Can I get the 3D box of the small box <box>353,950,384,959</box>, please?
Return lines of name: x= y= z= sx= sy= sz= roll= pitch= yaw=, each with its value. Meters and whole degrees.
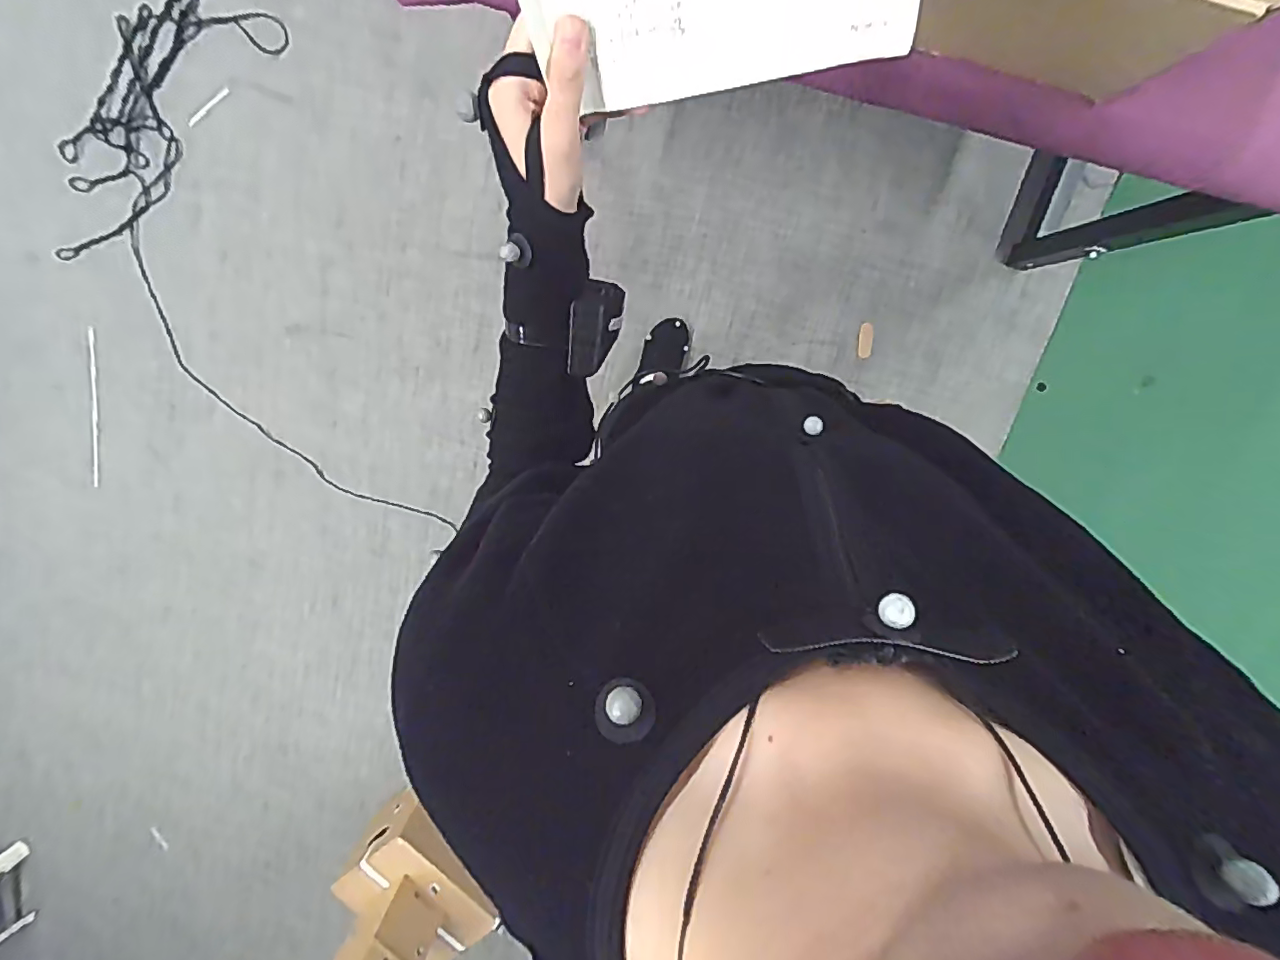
small box: x=-0.684 y=1.286 z=1.290 sx=0.179 sy=0.176 sz=0.168 roll=-40 pitch=98 yaw=13
